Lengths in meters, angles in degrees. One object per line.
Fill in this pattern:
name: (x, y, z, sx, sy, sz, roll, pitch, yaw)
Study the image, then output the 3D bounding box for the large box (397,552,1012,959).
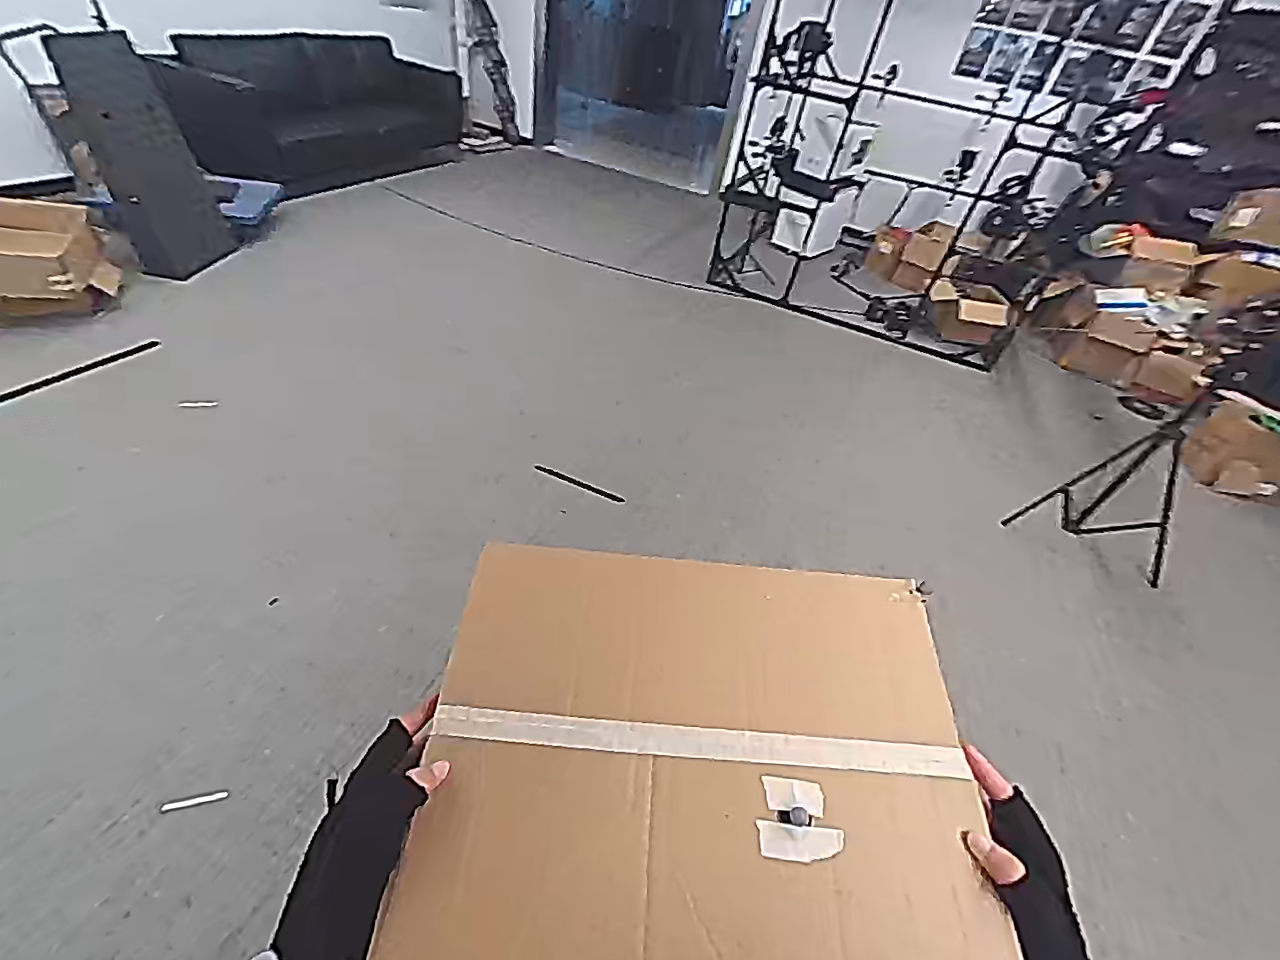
large box: (0.042, 0.295, 0.541, 0.408, 0.320, 0.320, 5, 53, 0)
